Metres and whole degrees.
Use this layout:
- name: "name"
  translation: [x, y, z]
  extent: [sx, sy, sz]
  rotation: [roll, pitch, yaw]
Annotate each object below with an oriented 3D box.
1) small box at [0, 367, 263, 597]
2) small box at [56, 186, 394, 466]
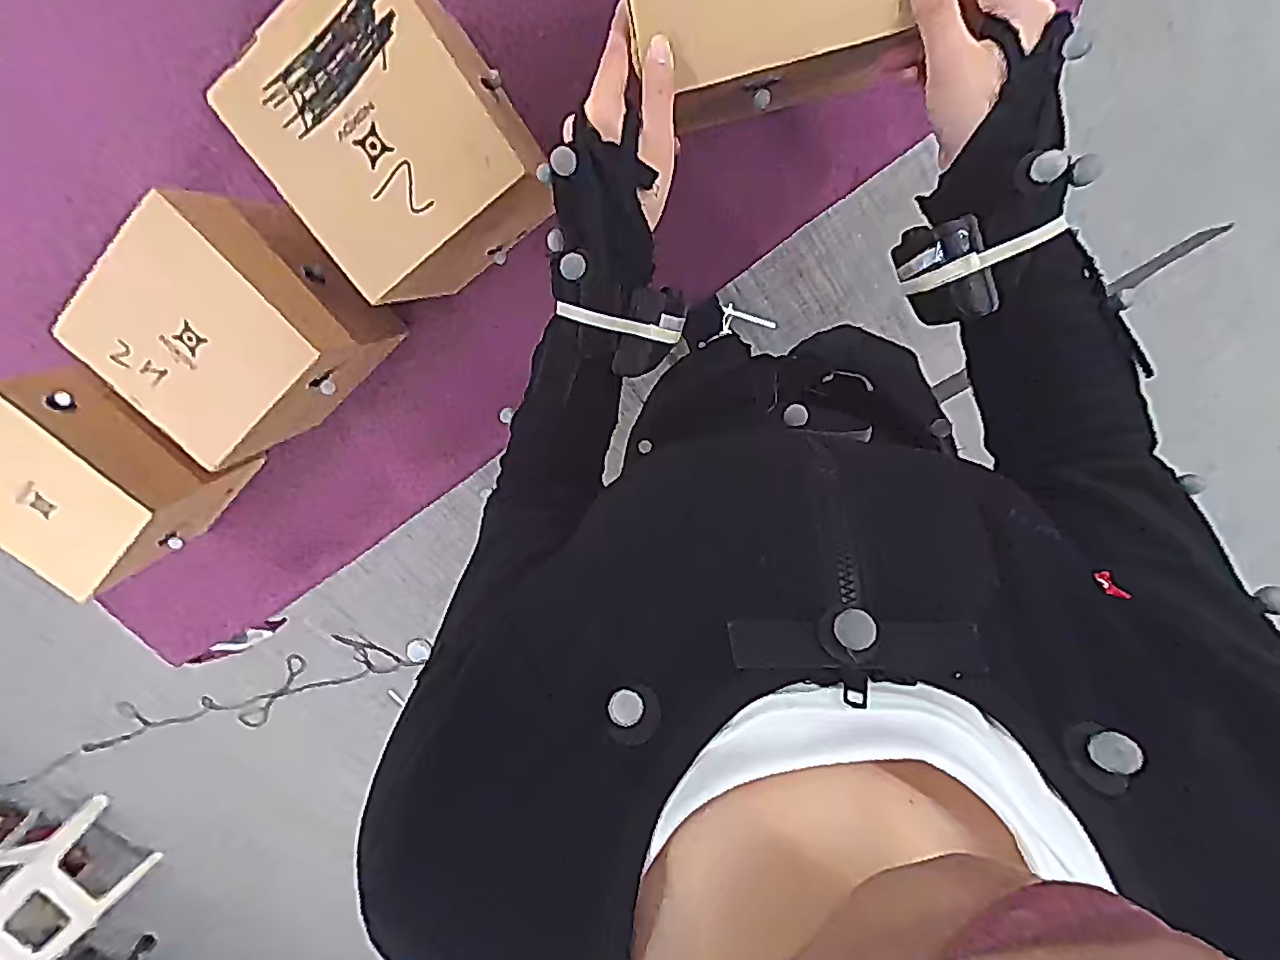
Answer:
- name: "small box"
  translation: [-0.581, -0.012, 0.603]
  extent: [0.168, 0.176, 0.179]
  rotation: [-40, 104, 18]
- name: "small box"
  translation: [-0.376, -0.149, 0.530]
  extent: [0.179, 0.176, 0.168]
  rotation: [-37, 104, 17]
